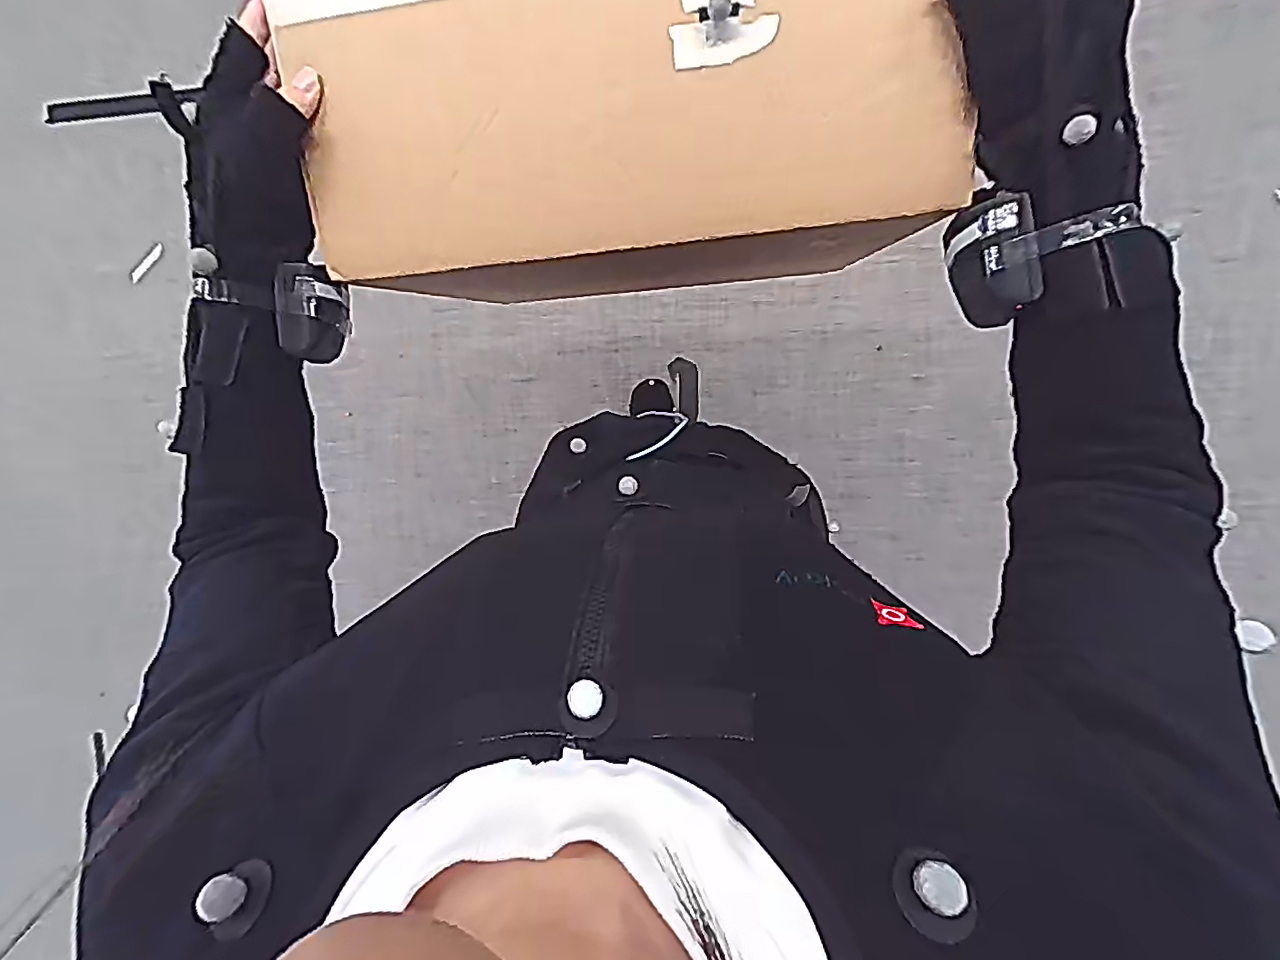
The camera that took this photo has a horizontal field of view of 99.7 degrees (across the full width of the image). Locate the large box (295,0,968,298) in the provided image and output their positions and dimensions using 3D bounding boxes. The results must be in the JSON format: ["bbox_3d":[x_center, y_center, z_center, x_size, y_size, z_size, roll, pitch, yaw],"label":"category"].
[{"bbox_3d":[-0.005,-0.345,0.454,0.408,0.320,0.320,-4,106,7],"label":"large box"}]
